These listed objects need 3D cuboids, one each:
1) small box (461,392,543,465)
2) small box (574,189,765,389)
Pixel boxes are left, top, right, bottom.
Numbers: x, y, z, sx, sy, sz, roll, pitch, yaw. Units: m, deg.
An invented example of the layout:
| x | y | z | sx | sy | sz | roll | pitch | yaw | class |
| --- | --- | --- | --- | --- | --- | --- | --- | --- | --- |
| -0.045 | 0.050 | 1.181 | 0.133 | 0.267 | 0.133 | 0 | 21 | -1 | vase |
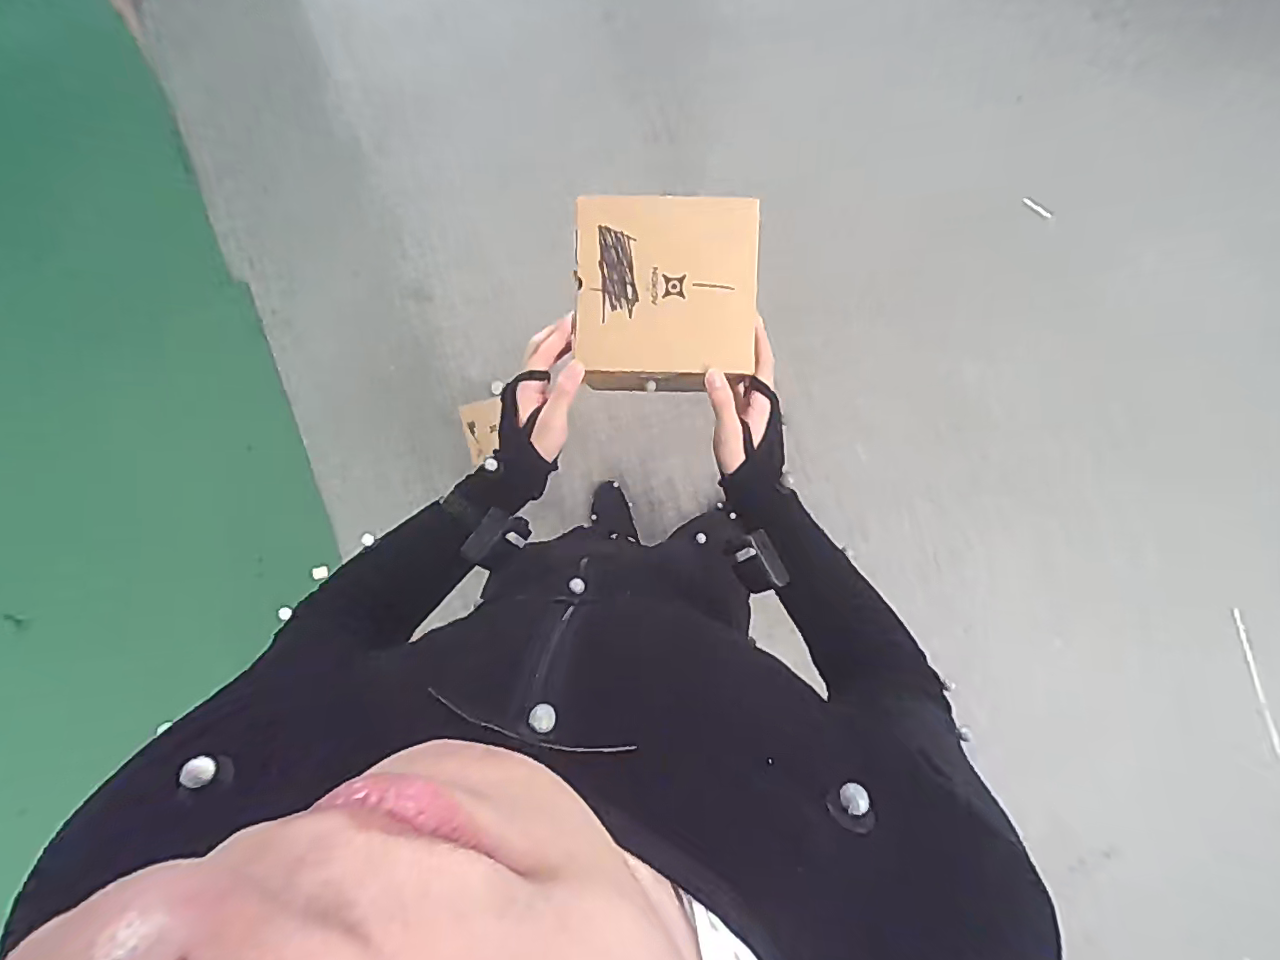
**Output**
| x | y | z | sx | sy | sz | roll | pitch | yaw | class |
| --- | --- | --- | --- | --- | --- | --- | --- | --- | --- |
| -0.382 | -0.142 | 1.535 | 0.179 | 0.176 | 0.168 | -15 | 92 | 0 | small box |
| 0.029 | -0.191 | 0.586 | 0.179 | 0.176 | 0.168 | 2 | 93 | 1 | small box |
